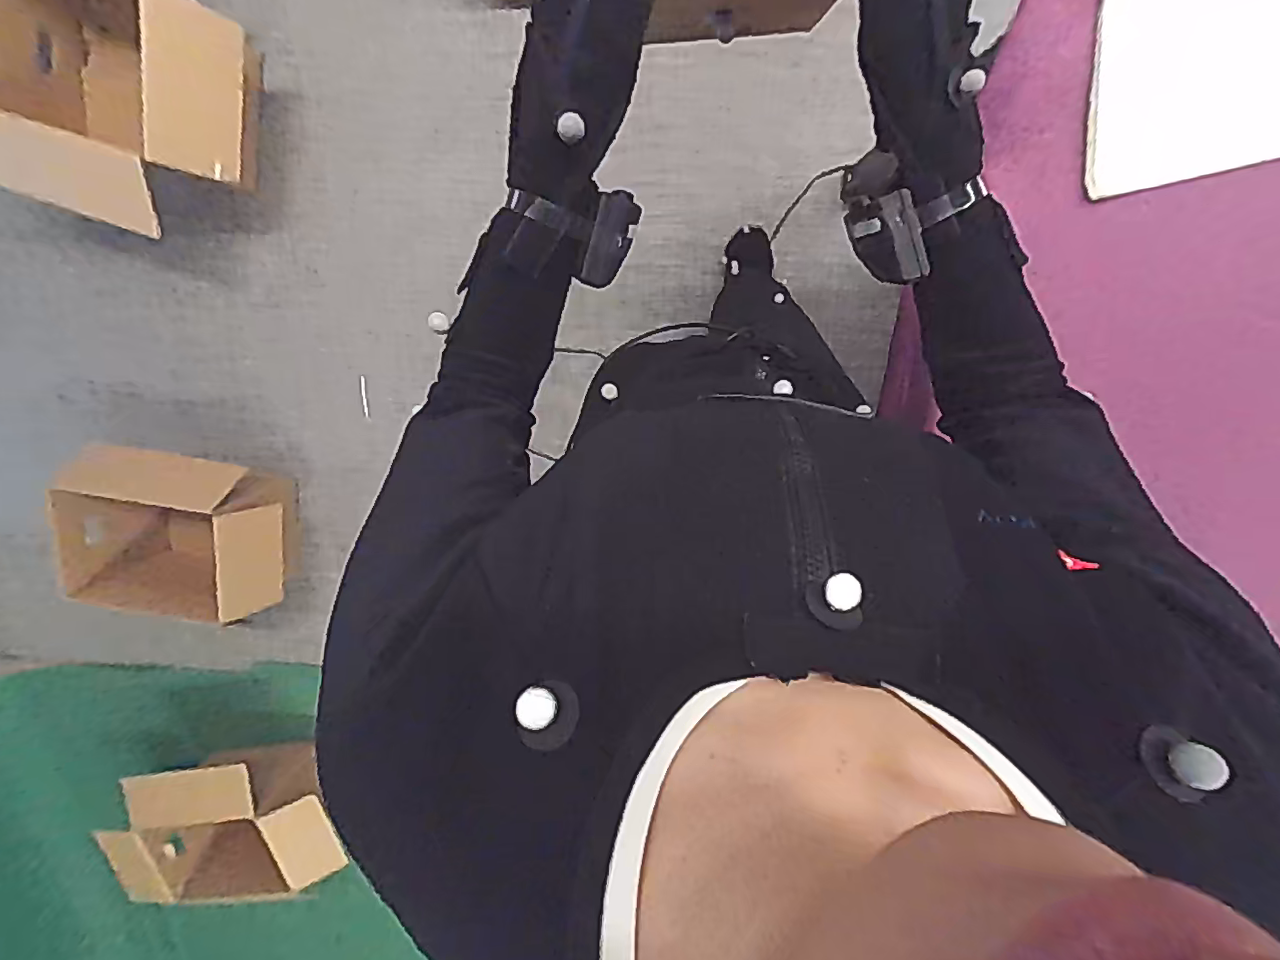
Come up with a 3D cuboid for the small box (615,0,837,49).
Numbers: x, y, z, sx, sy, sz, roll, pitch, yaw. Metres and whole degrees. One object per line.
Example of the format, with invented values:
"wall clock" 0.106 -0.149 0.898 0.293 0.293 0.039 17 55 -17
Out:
"small box" 0.060 -0.417 0.349 0.168 0.176 0.179 -4 114 0
